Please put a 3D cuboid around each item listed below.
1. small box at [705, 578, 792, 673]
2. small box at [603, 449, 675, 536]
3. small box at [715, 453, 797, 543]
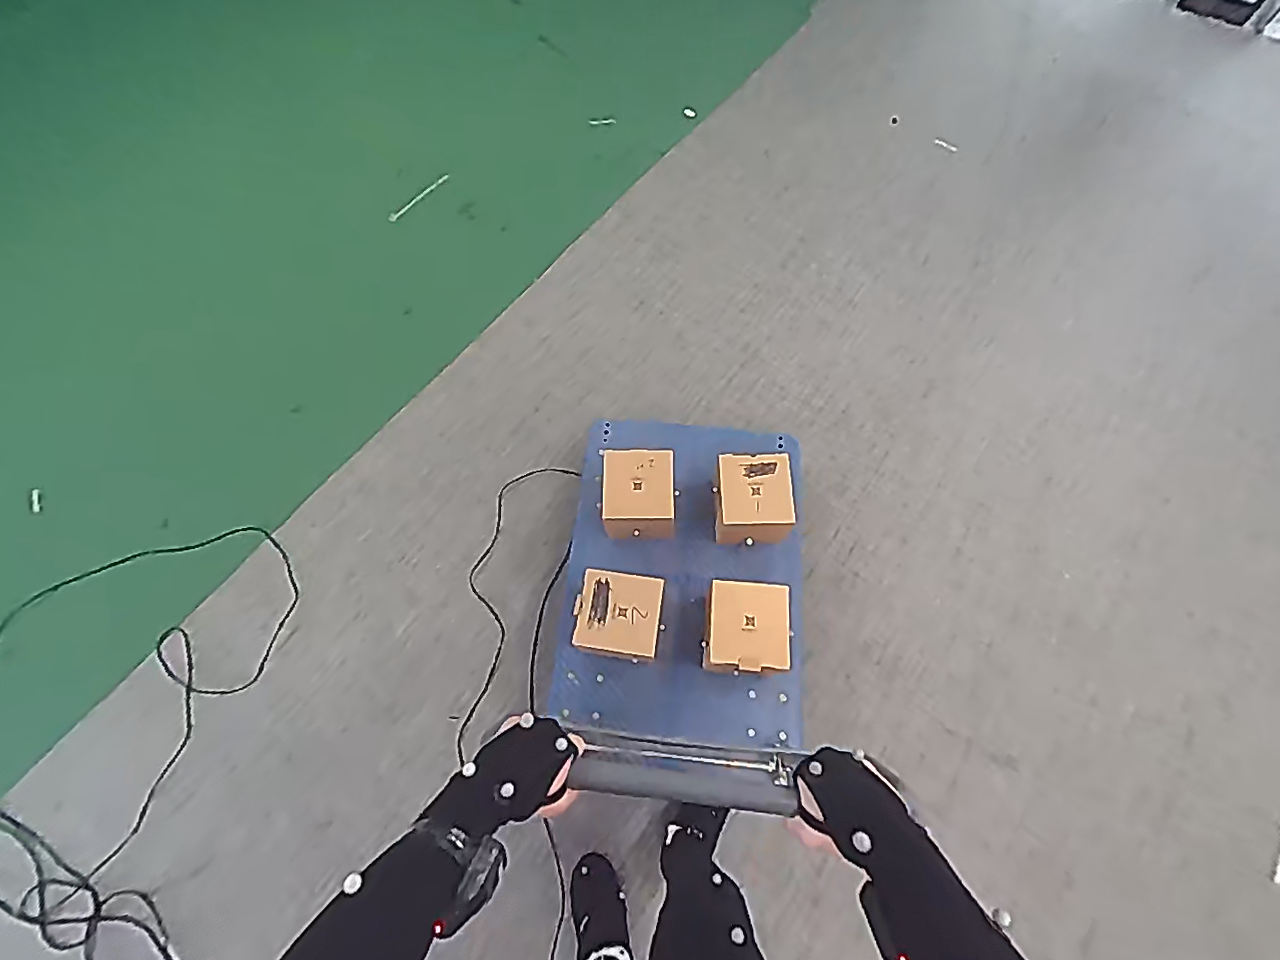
[{"bbox_3d":[0.236,0.329,1.207,0.168,0.176,0.179,5,69,3],"label":"small box"},{"bbox_3d":[0.002,0.036,1.331,0.168,0.176,0.179,1,68,1],"label":"small box"},{"bbox_3d":[0.275,0.047,1.320,0.168,0.176,0.179,0,69,2],"label":"small box"}]
